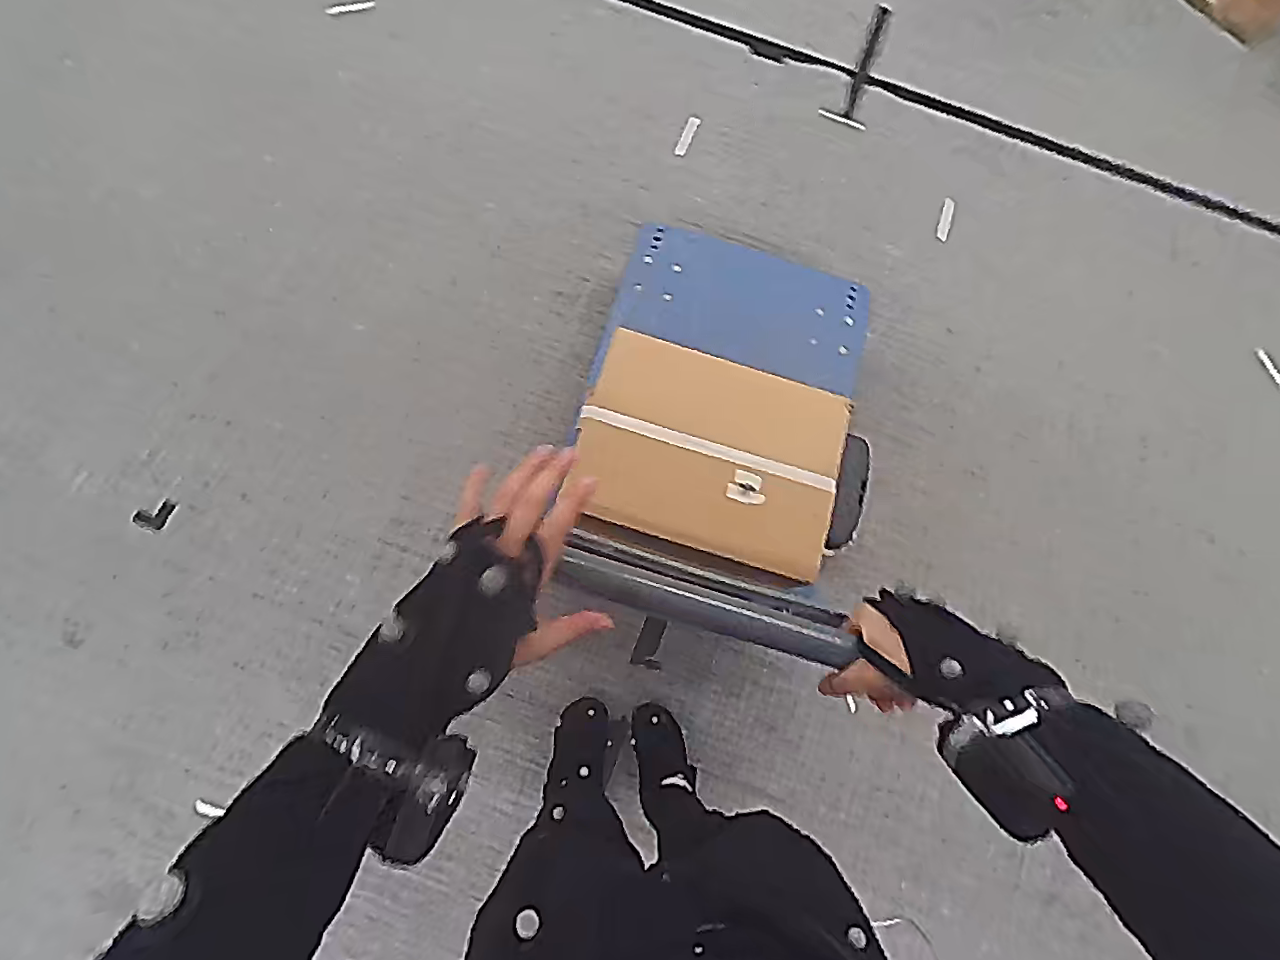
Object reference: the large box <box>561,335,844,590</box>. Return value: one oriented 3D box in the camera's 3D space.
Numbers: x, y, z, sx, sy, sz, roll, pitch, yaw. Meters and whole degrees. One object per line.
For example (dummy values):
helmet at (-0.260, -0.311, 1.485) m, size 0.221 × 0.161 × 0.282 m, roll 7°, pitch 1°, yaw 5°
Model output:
large box at (0.092, -0.007, 0.987) m, size 0.408 × 0.320 × 0.320 m, roll 17°, pitch 75°, yaw -2°
